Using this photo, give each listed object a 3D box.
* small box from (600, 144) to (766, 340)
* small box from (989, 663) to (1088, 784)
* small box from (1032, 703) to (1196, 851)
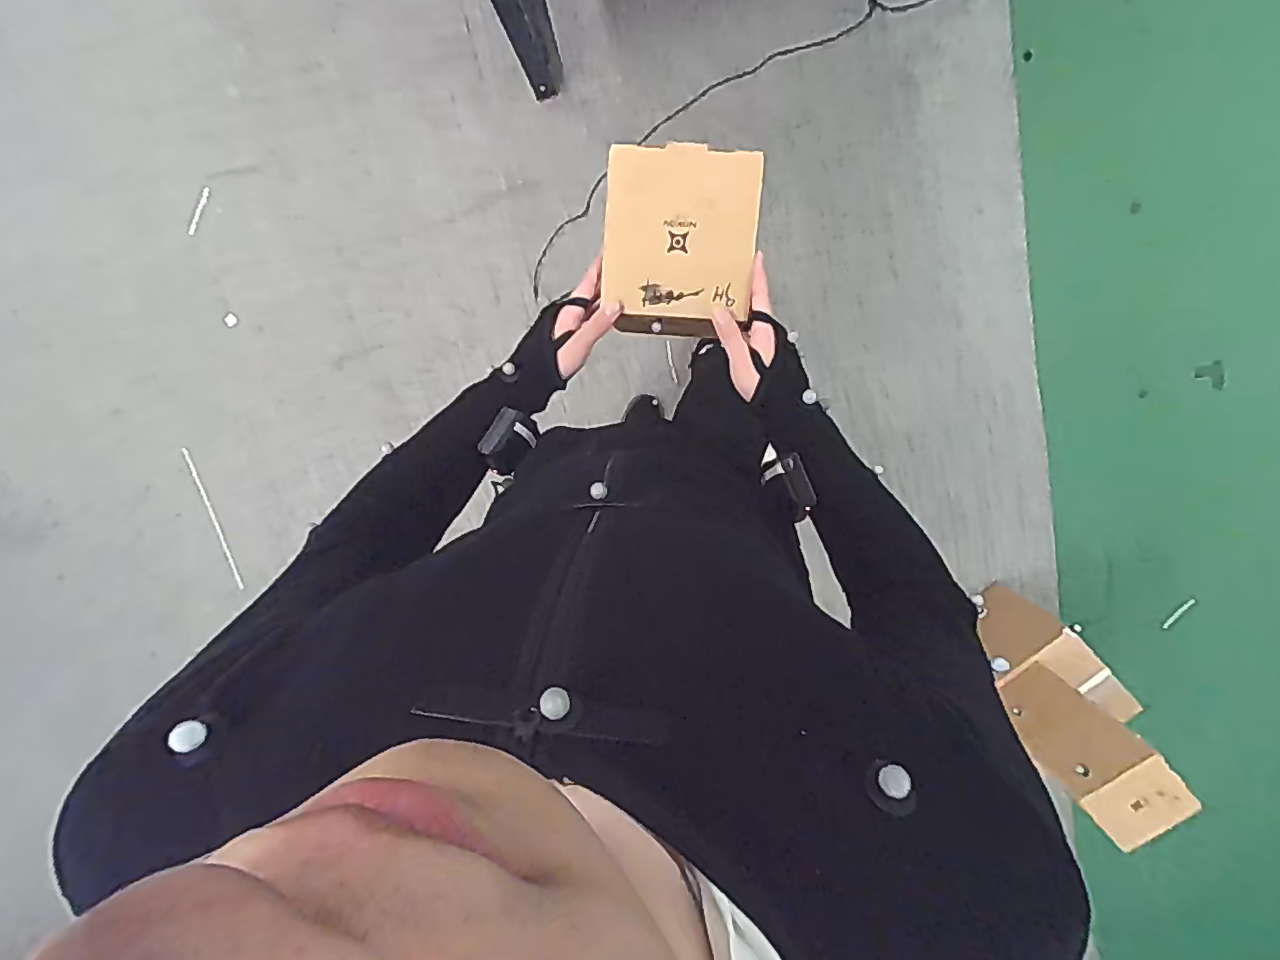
[{"bbox_3d":[0.048,-0.274,0.656,0.168,0.176,0.179,5,100,3],"label":"small box"},{"bbox_3d":[0.990,0.586,1.305,0.179,0.176,0.168,-44,97,10],"label":"small box"},{"bbox_3d":[0.982,0.620,1.144,0.179,0.176,0.168,-41,98,10],"label":"small box"}]
